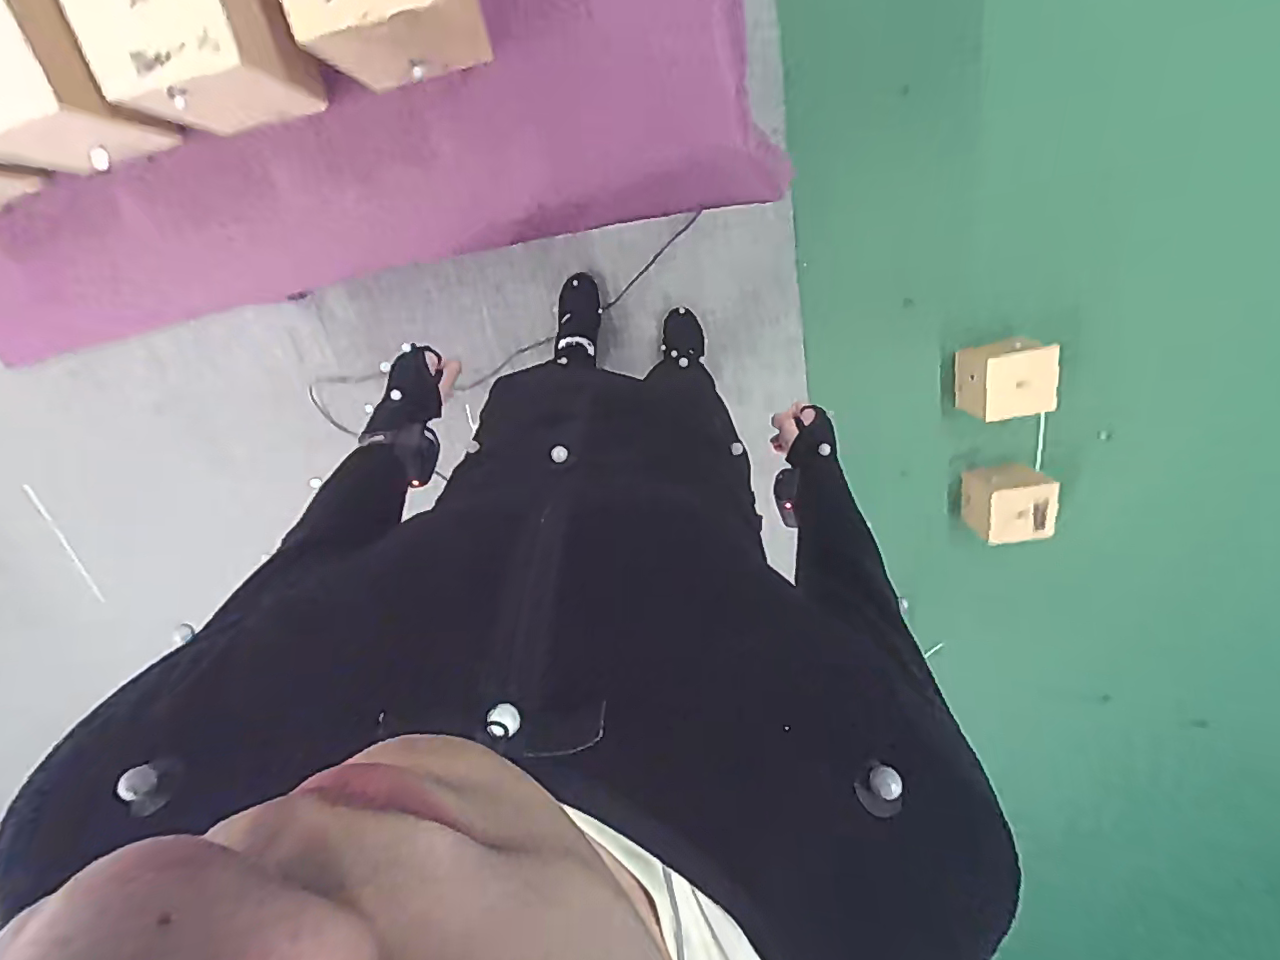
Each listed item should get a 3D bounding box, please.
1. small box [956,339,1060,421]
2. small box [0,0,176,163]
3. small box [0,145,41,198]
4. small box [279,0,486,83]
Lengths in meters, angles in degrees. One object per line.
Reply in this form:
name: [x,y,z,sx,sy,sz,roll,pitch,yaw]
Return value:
small box: [0.965,-0.269,1.434,0.179,0.176,0.168,-10,111,6]
small box: [-0.730,-0.506,0.647,0.168,0.176,0.179,-11,112,7]
small box: [-0.950,-0.458,0.678,0.168,0.176,0.179,-15,111,9]
small box: [-0.292,-0.579,0.594,0.168,0.176,0.179,-9,112,7]
